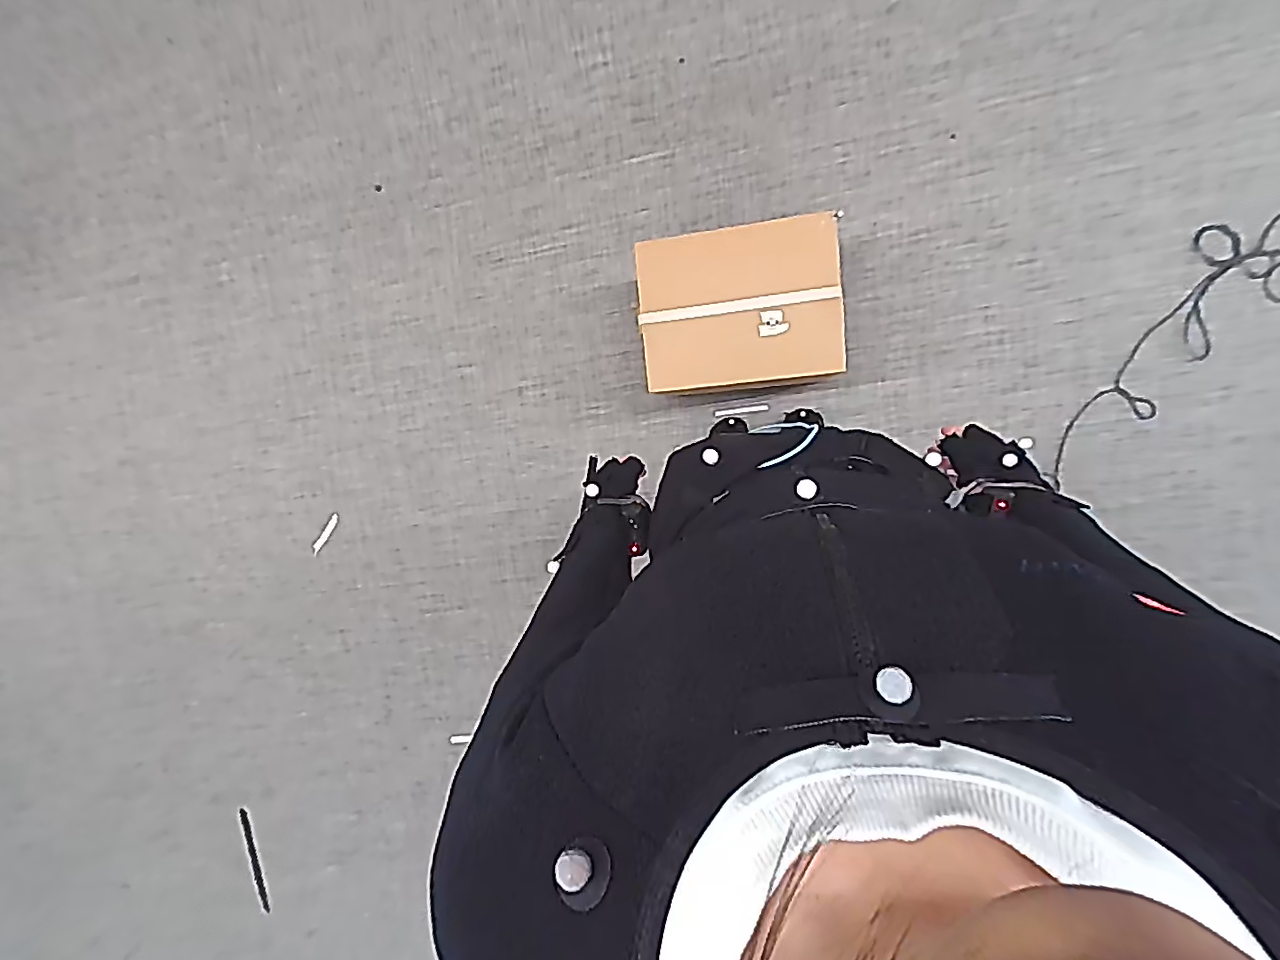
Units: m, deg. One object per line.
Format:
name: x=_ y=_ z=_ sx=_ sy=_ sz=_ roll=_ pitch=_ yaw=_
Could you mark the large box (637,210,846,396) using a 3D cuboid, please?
large box: x=0.227 y=-0.376 z=1.250 sx=0.408 sy=0.320 sz=0.320 roll=-5 pitch=97 yaw=10
